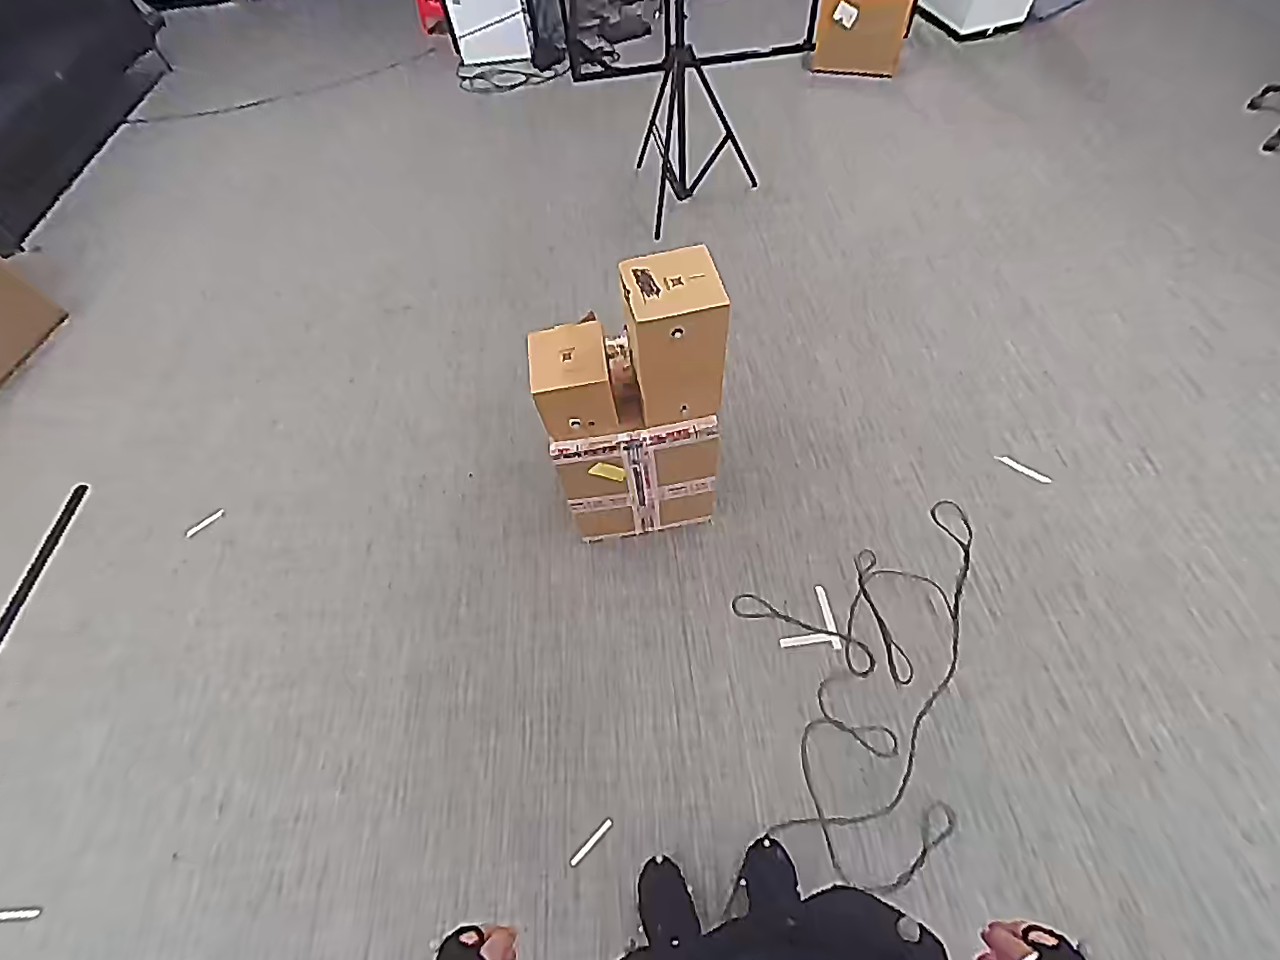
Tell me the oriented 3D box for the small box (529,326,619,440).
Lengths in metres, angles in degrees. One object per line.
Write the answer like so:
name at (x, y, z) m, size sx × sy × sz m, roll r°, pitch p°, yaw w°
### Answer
small box at (-0.146, -0.215, 1.223) m, size 0.168 × 0.176 × 0.179 m, roll -11°, pitch 62°, yaw 1°

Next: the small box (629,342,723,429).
small box at (0.075, -0.237, 1.217) m, size 0.179 × 0.176 × 0.168 m, roll -13°, pitch 61°, yaw -3°

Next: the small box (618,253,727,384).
small box at (0.063, -0.312, 1.070) m, size 0.179 × 0.176 × 0.168 m, roll -13°, pitch 61°, yaw -3°
